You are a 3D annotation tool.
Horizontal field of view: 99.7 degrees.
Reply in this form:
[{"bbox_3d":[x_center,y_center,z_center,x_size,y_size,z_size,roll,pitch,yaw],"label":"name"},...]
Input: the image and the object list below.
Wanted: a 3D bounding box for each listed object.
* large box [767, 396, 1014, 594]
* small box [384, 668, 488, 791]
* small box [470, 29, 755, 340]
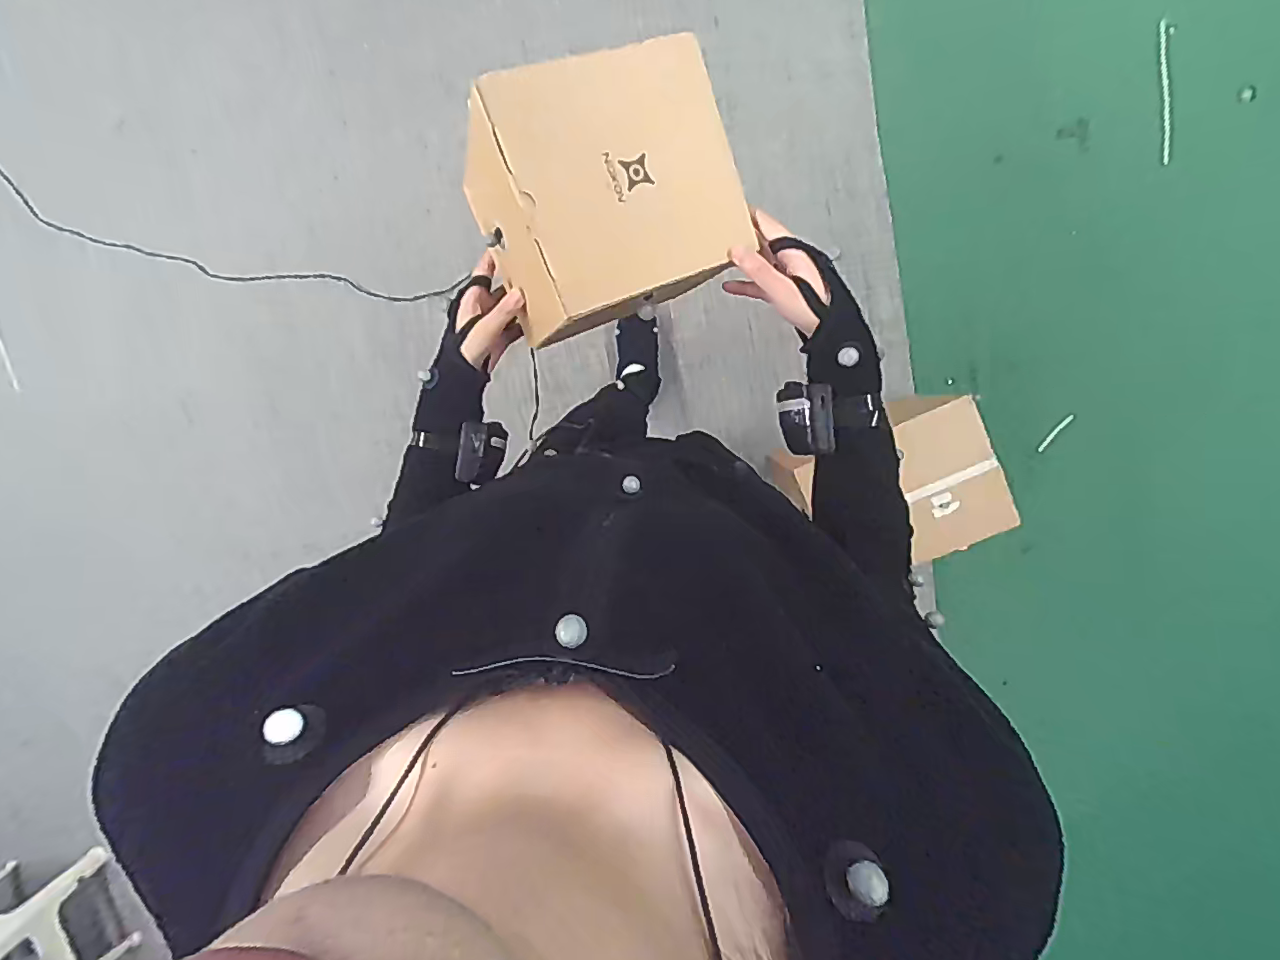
[{"bbox_3d":[0.577,0.020,1.320,0.408,0.320,0.320,-24,97,6],"label":"large box"},{"bbox_3d":[-0.455,0.556,1.223,0.168,0.176,0.179,9,101,2],"label":"small box"},{"bbox_3d":[-0.035,-0.235,0.471,0.179,0.176,0.168,-25,103,-14],"label":"small box"}]
